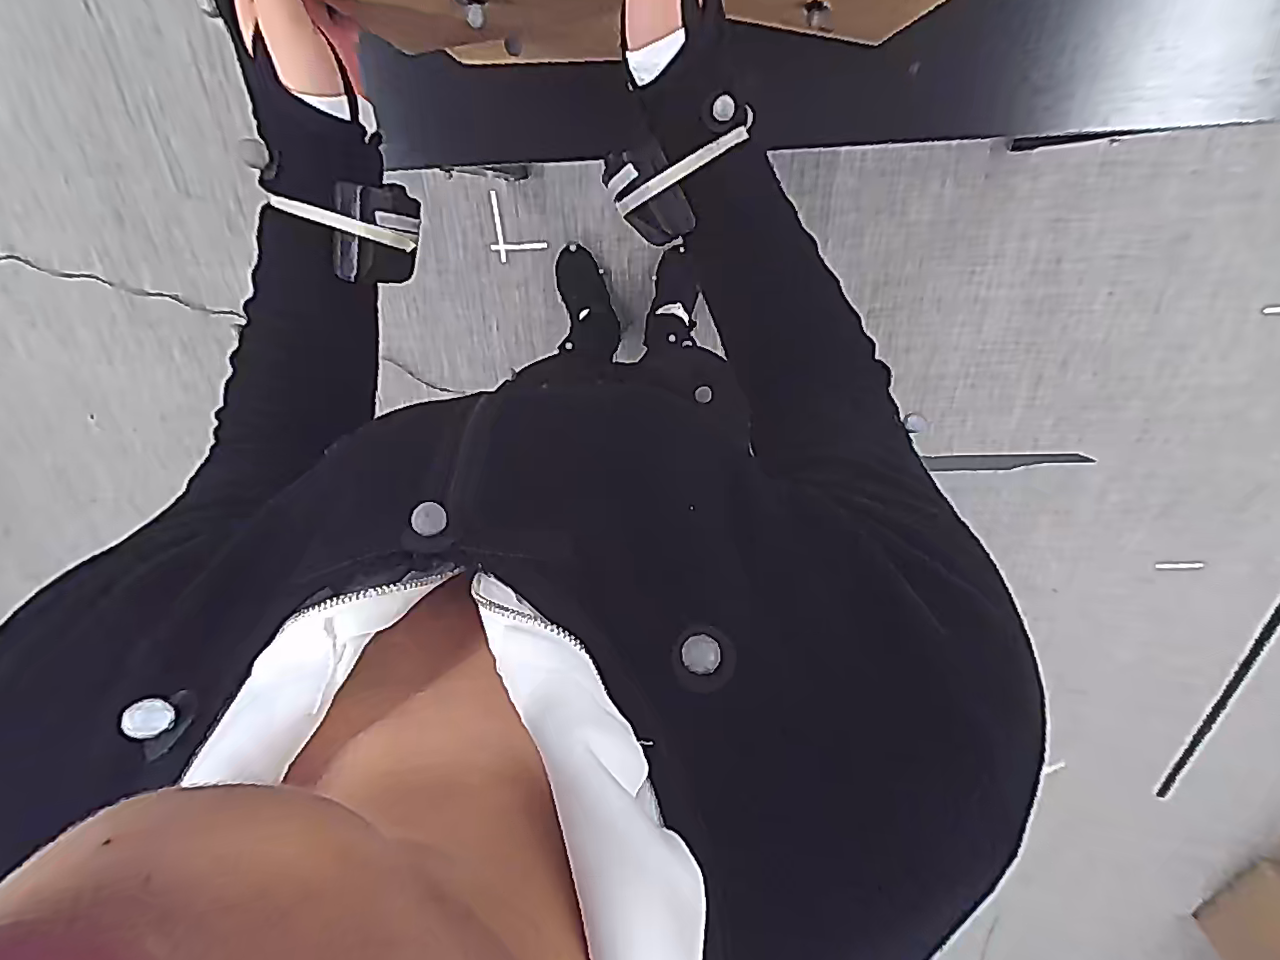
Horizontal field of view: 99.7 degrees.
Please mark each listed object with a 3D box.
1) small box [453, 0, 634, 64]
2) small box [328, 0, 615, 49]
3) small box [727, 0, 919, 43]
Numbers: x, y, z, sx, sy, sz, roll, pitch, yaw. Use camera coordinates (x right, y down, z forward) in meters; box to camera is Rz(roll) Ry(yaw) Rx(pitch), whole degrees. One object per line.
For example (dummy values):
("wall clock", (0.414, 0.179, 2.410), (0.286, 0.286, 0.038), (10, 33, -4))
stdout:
("small box", (-0.095, -0.460, 0.441), (0.179, 0.176, 0.168), (-1, 117, 1))
("small box", (-0.103, -0.371, 0.300), (0.179, 0.176, 0.168), (-6, 116, 5))
("small box", (0.167, -0.486, 0.431), (0.168, 0.176, 0.179), (7, 116, -4))
